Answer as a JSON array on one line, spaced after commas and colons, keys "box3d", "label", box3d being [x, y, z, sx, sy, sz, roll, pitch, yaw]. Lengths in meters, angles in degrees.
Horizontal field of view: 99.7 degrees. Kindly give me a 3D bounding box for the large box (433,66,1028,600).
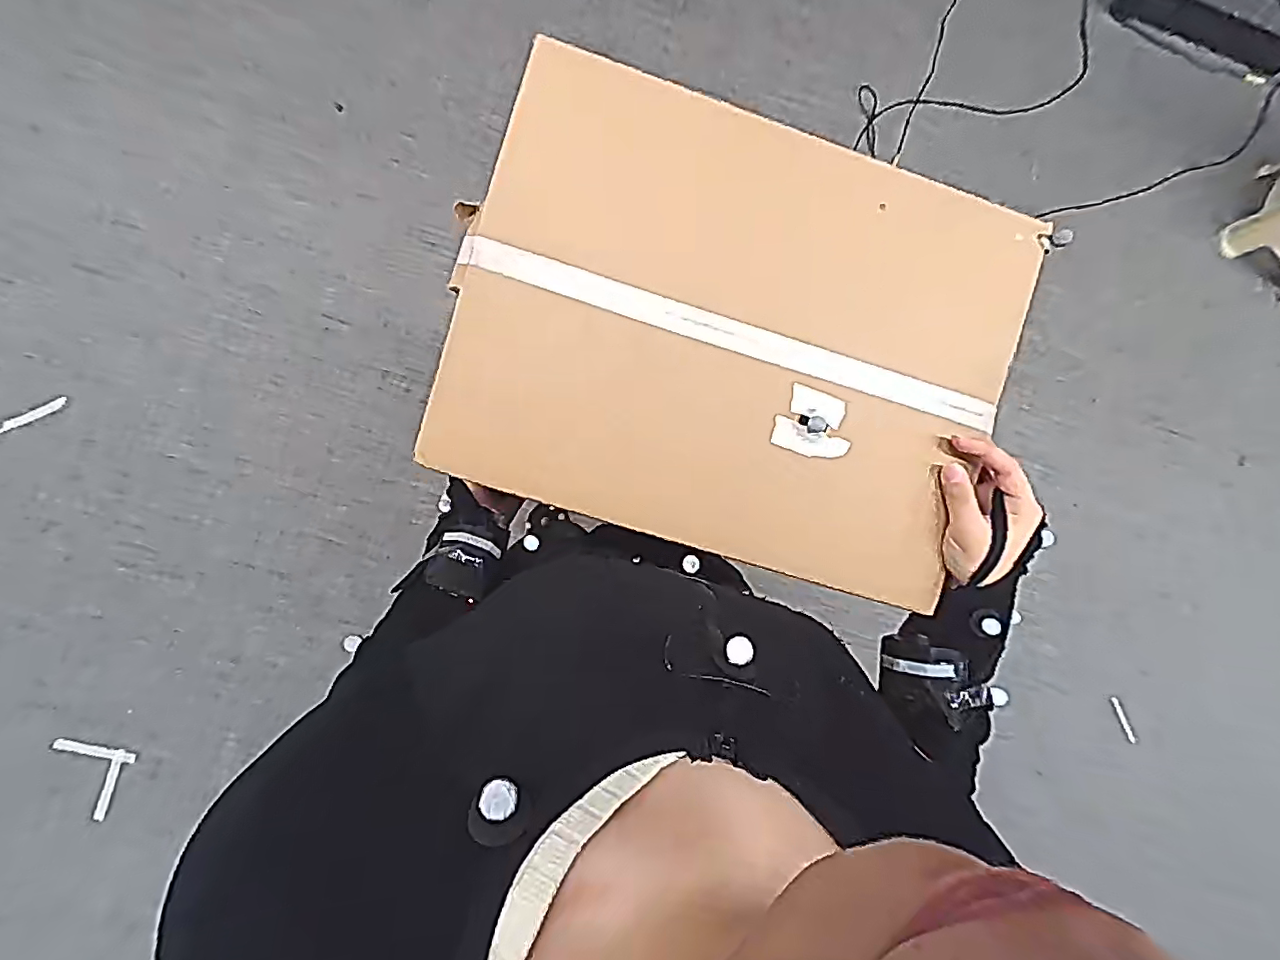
[{"box3d": [0.062, -0.106, 0.554, 0.408, 0.320, 0.320, 16, 91, -6], "label": "large box"}]
